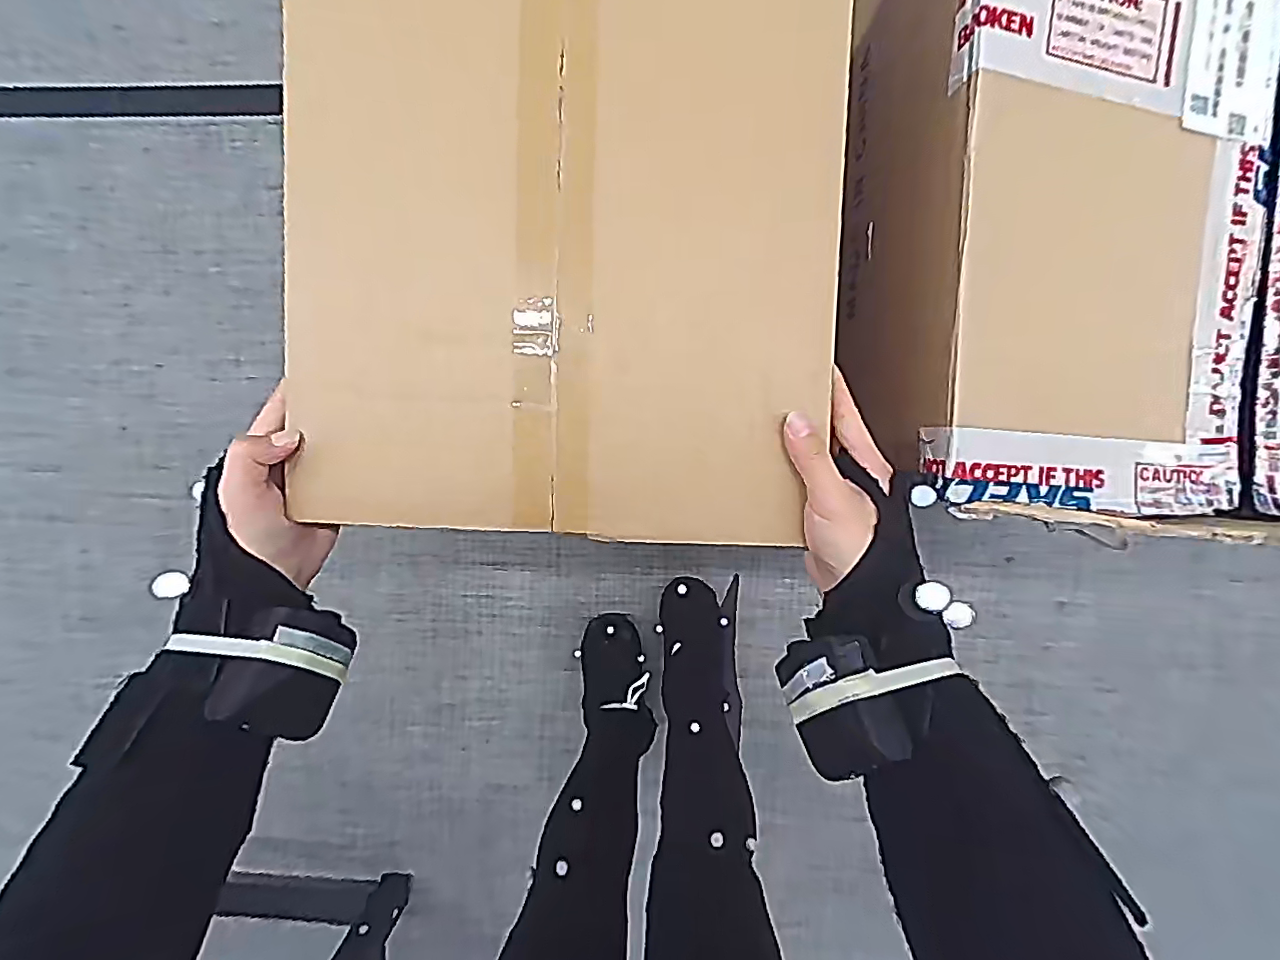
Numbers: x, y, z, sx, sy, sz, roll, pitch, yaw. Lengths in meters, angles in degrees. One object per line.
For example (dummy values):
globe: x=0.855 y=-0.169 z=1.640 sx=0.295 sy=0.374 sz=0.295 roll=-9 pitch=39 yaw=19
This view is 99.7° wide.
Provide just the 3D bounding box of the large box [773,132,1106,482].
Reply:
large box: x=0.380 y=-0.214 z=0.782 sx=0.320 sy=0.320 sz=0.408 roll=0 pitch=96 yaw=2
